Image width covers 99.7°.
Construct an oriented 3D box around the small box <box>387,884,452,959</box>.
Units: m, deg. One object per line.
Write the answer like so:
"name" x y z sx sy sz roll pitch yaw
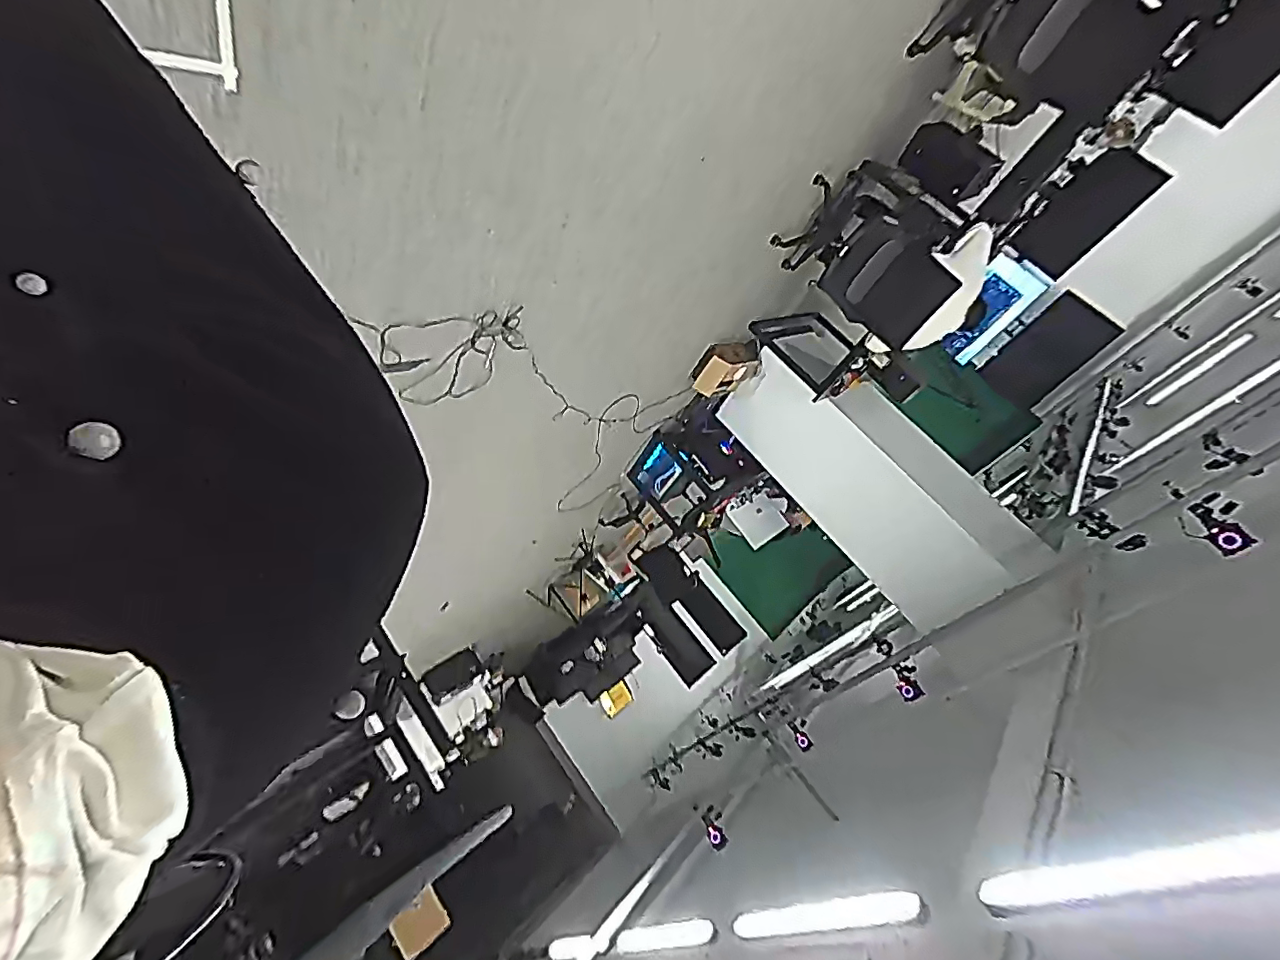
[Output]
"small box" -0.831 1.661 2.027 0.168 0.176 0.179 -28 159 -40
